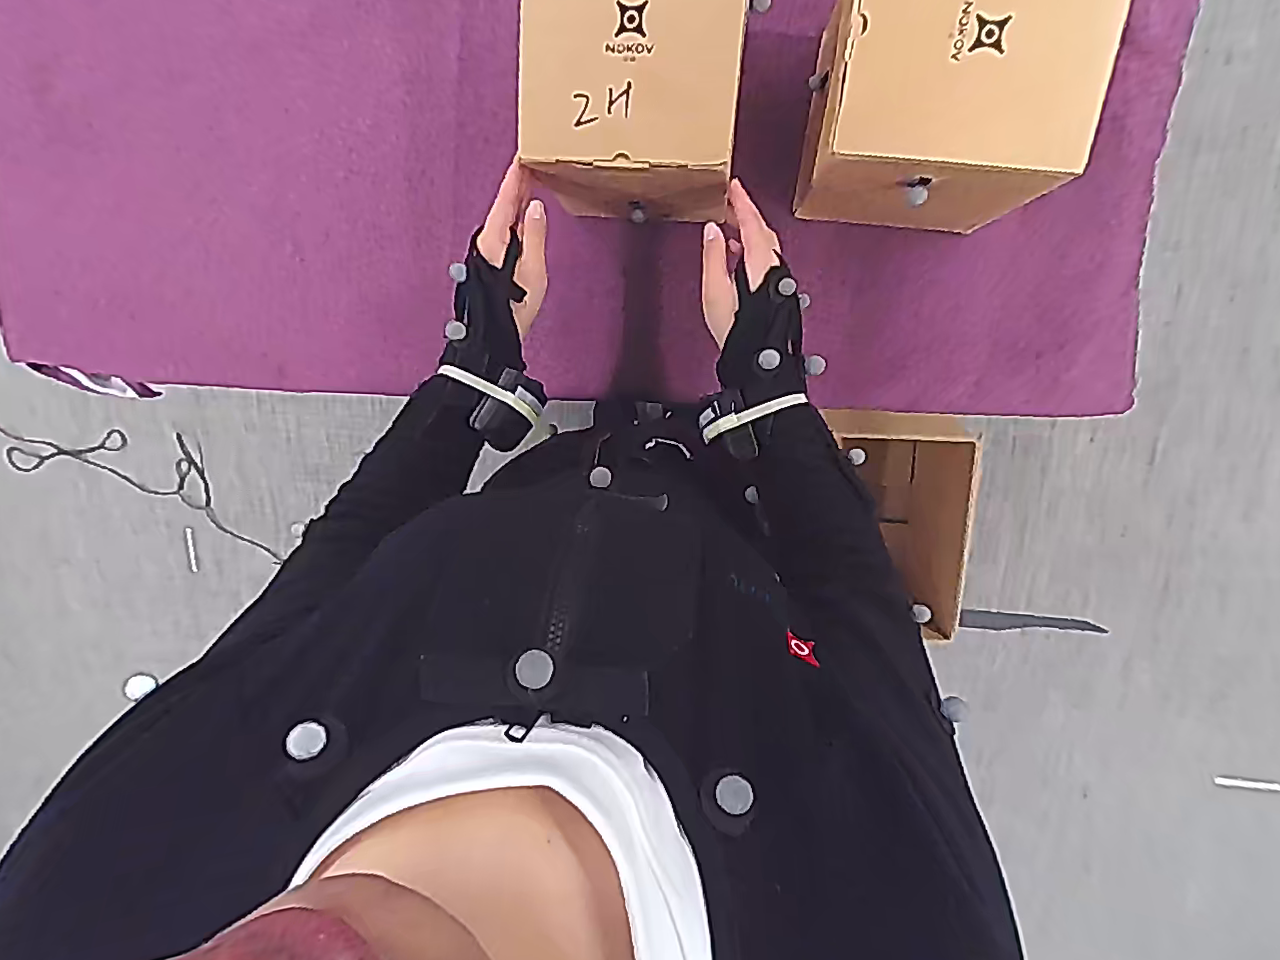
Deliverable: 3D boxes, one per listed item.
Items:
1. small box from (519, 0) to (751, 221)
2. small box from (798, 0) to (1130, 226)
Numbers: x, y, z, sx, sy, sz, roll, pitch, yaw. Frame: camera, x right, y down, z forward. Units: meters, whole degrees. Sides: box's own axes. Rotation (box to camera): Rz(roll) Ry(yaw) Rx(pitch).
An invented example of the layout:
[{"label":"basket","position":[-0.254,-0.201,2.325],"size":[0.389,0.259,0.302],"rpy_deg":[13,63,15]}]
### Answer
[{"label":"small box","position":[0.004,-0.344,0.469],"size":[0.168,0.176,0.179],"rpy_deg":[6,103,6]},{"label":"small box","position":[0.243,-0.321,0.446],"size":[0.179,0.176,0.168],"rpy_deg":[8,102,6]}]
